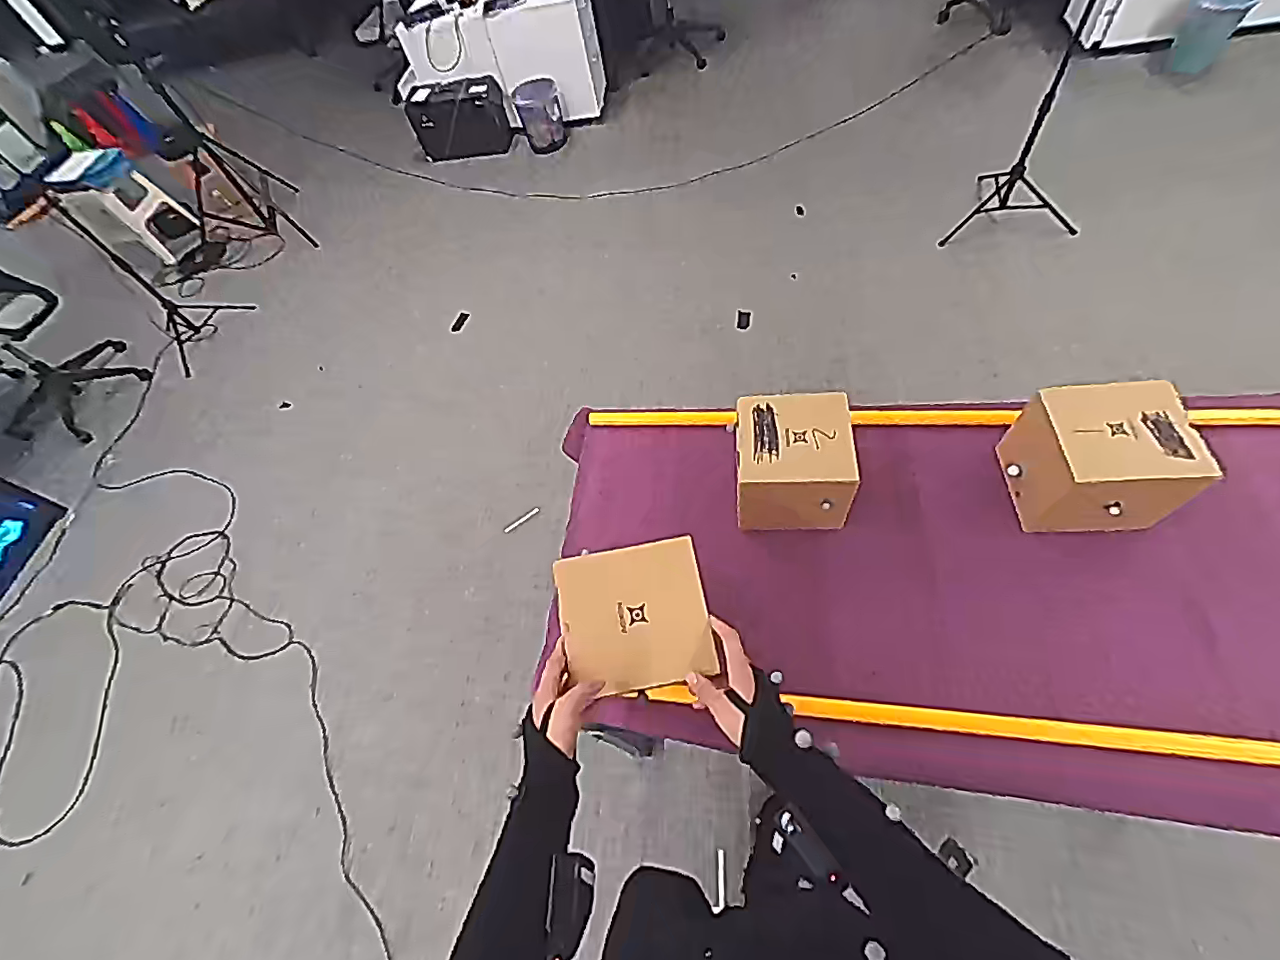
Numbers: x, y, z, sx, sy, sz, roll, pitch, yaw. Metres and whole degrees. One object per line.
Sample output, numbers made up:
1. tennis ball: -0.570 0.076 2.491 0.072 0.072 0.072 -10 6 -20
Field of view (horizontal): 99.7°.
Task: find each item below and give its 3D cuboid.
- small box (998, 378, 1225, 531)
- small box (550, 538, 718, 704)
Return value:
1. small box: 0.681 -0.032 0.811 0.179 0.176 0.168 -3 59 10
2. small box: -0.008 0.187 0.704 0.179 0.176 0.168 -11 69 -1
